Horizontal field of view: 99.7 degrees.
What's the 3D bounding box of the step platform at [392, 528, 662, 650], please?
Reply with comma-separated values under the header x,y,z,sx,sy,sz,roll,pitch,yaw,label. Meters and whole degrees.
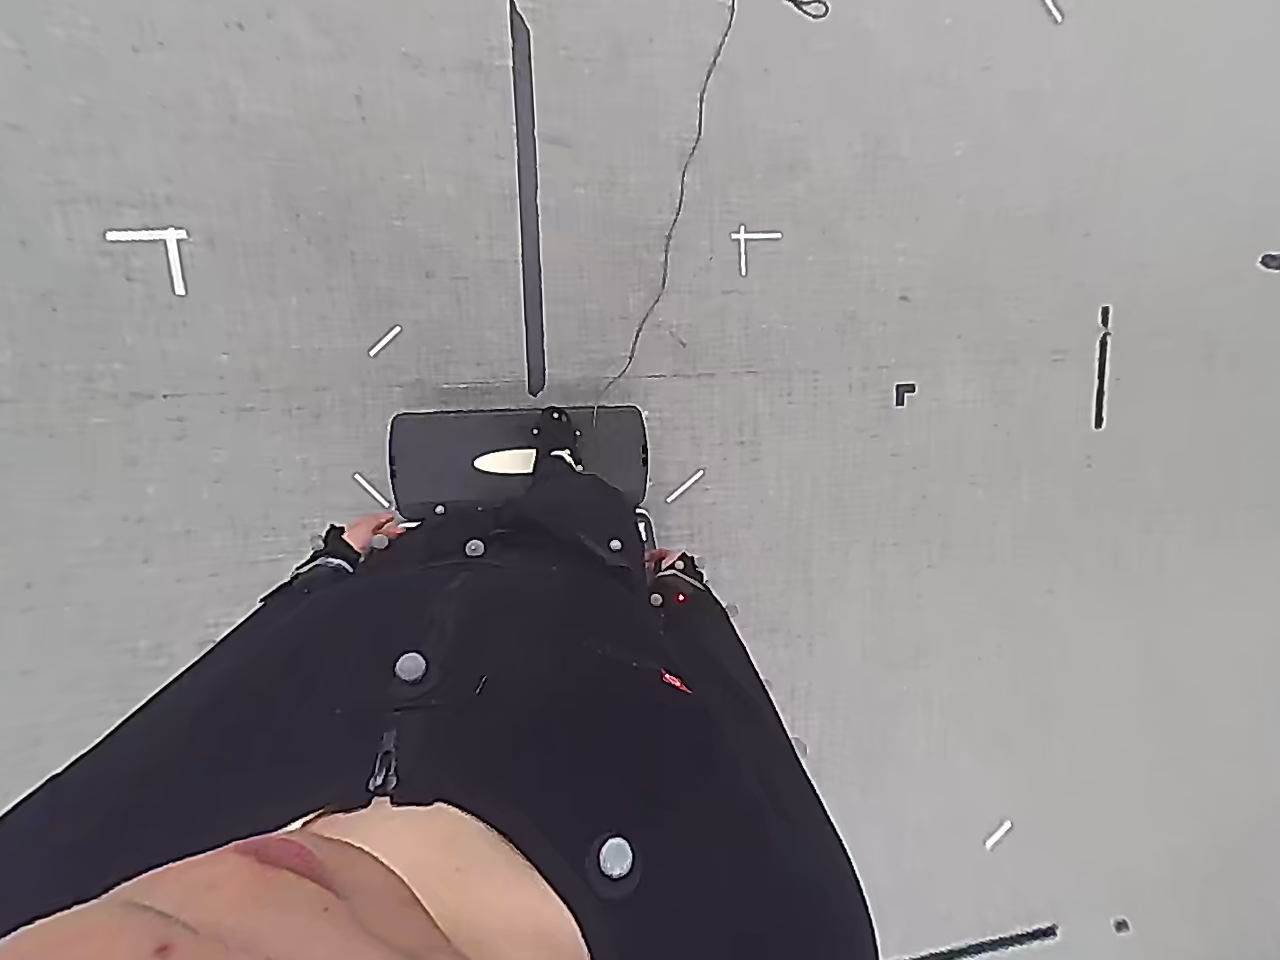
x,y,z,sx,sy,sz,roll,pitch,yaw,label
-0.282,0.284,1.428,0.684,0.204,0.286,2,92,-8,step platform
